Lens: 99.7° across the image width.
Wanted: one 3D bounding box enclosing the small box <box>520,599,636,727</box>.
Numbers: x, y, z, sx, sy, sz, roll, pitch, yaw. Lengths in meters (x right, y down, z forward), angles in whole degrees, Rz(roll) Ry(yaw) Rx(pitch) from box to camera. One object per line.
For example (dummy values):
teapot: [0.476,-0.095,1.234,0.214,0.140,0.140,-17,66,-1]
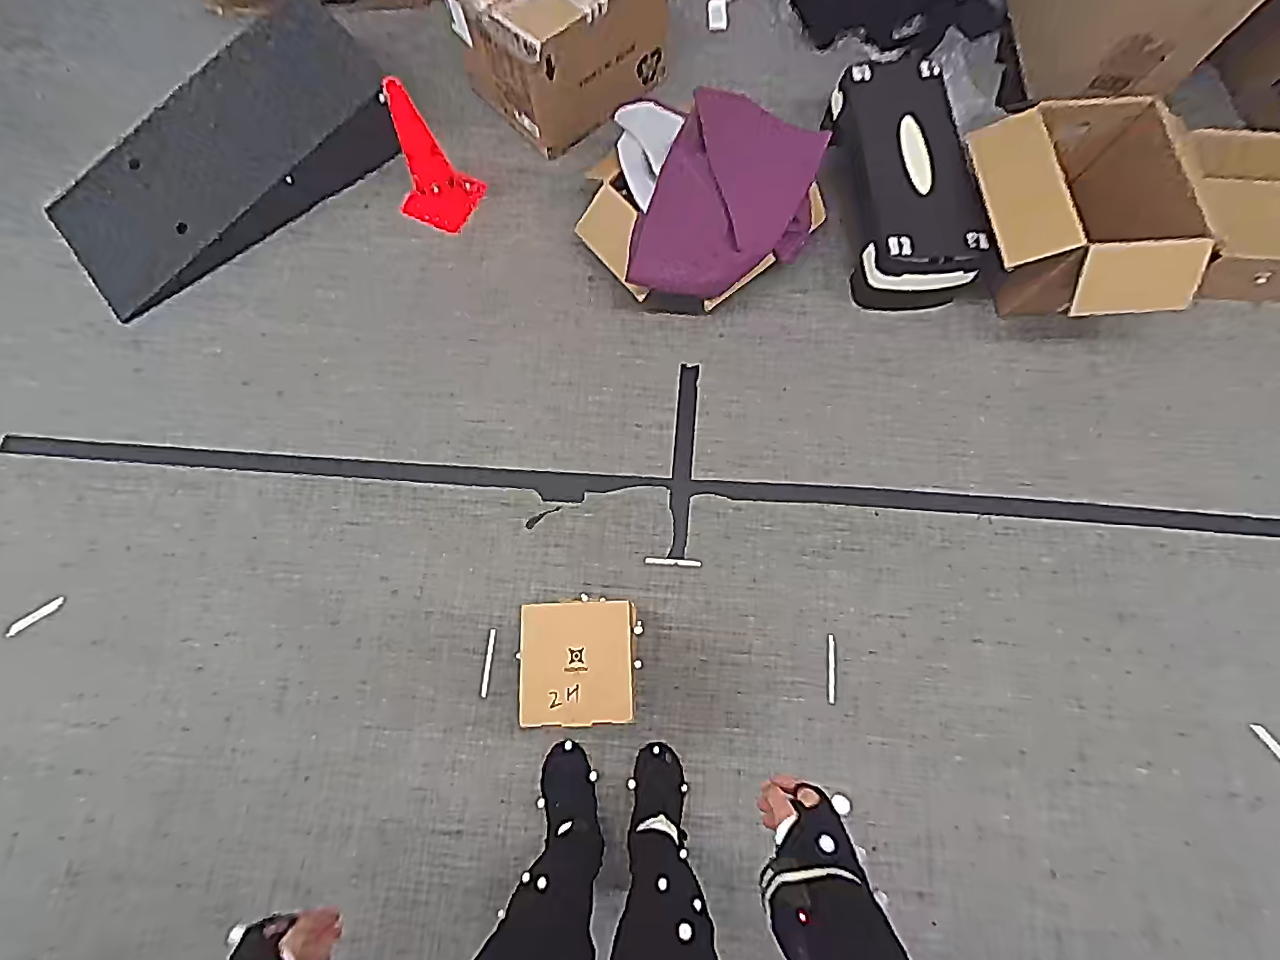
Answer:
small box: [-0.092,0.288,0.870,0.168,0.176,0.179,-3,75,0]
